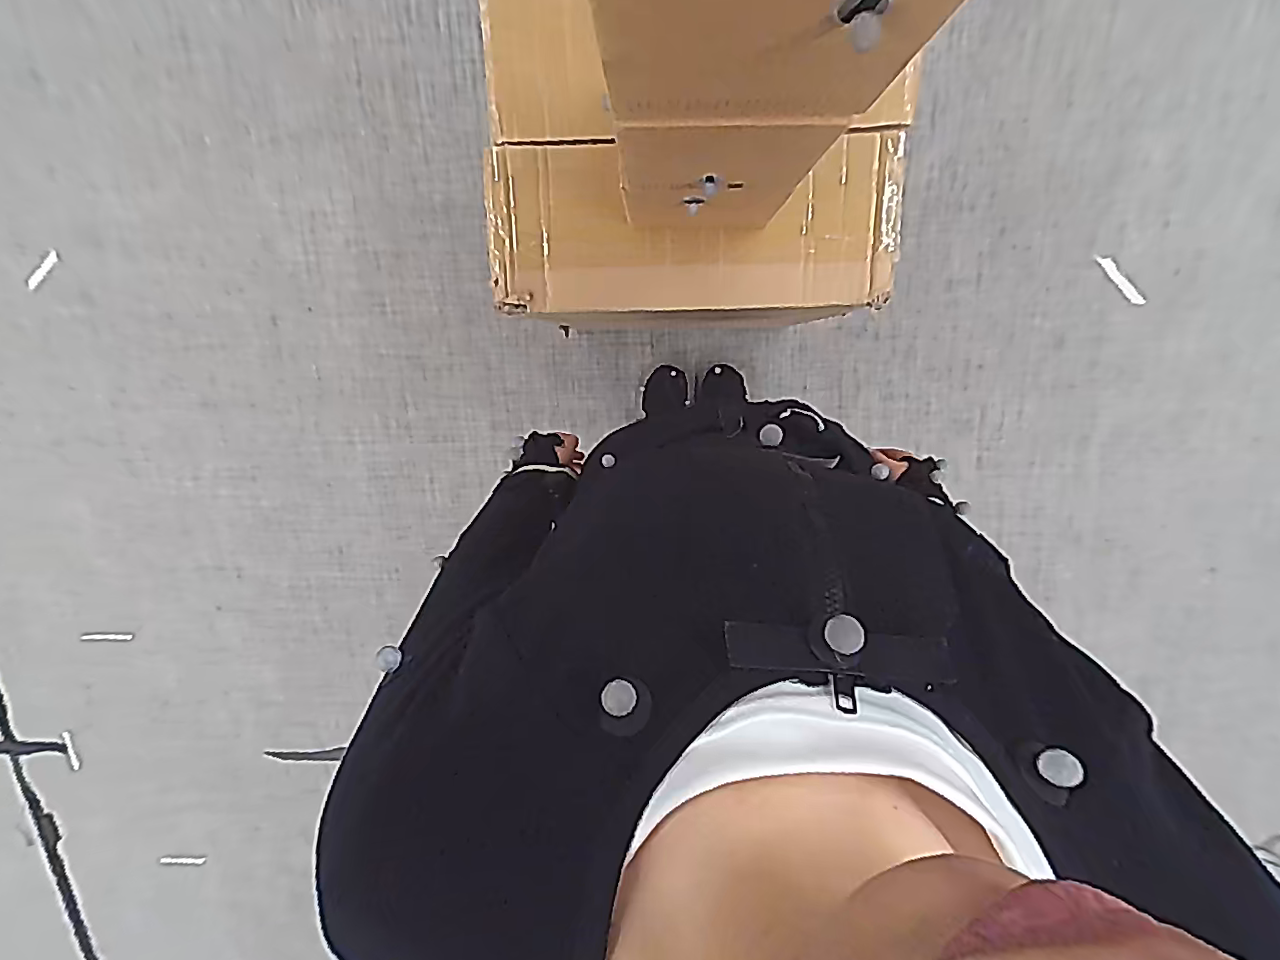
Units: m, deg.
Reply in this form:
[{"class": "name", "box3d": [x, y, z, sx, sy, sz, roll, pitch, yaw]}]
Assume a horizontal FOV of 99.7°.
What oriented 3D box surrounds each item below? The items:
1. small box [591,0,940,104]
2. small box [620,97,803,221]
[{"class": "small box", "box3d": [0.064, -0.314, 0.268, 0.179, 0.176, 0.168, 0, 103, 3]}, {"class": "small box", "box3d": [0.072, -0.388, 0.588, 0.179, 0.176, 0.168, 1, 103, 2]}]
